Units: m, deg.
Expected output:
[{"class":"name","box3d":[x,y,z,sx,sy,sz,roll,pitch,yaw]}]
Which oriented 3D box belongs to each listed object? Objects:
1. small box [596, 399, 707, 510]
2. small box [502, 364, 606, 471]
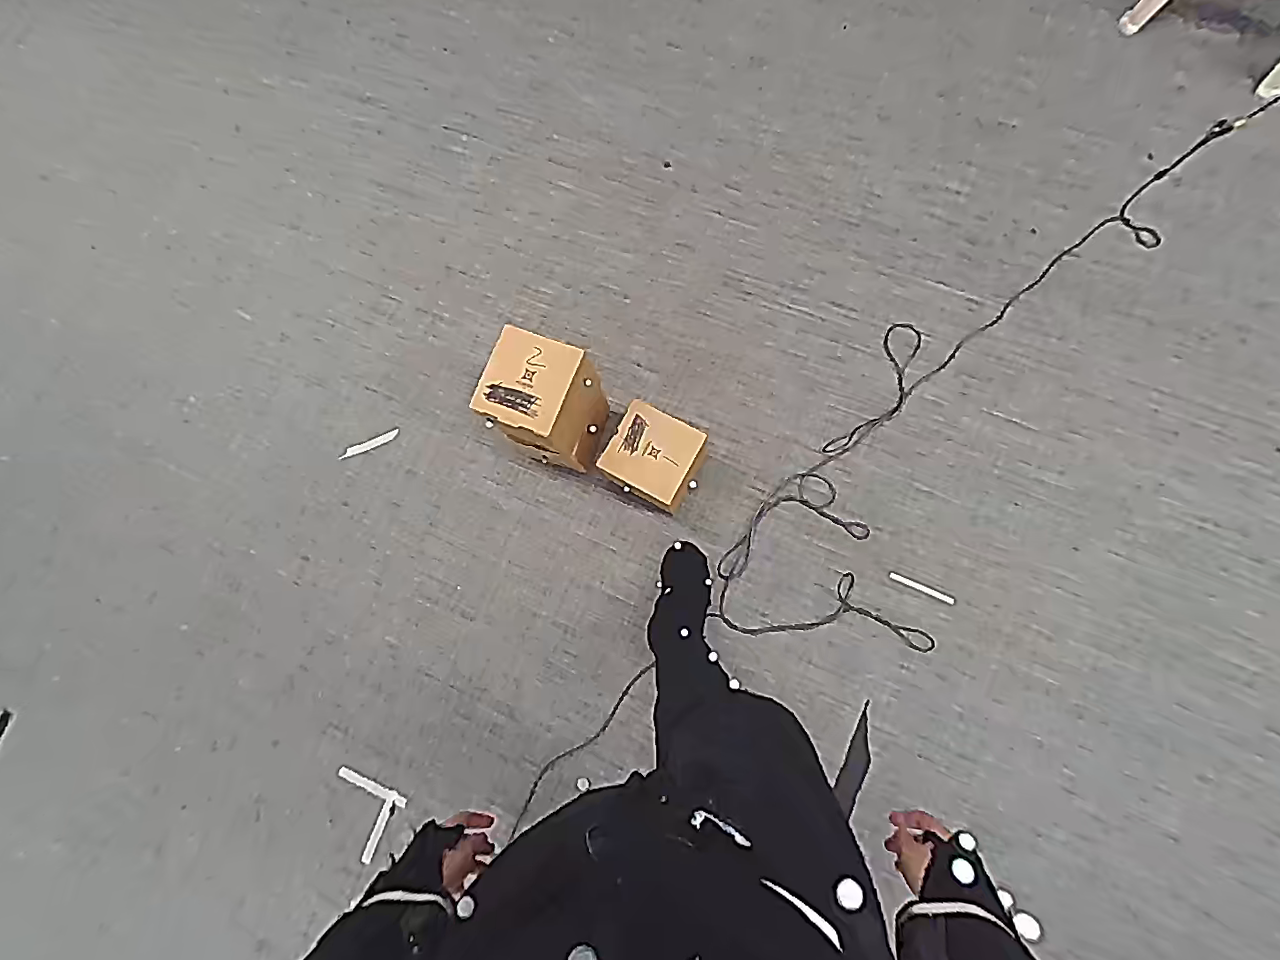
[{"class":"small box","box3d":[0.030,-0.047,1.174,0.179,0.176,0.168,28,84,10]},{"class":"small box","box3d":[-0.183,-0.134,1.217,0.168,0.176,0.179,16,82,9]}]
